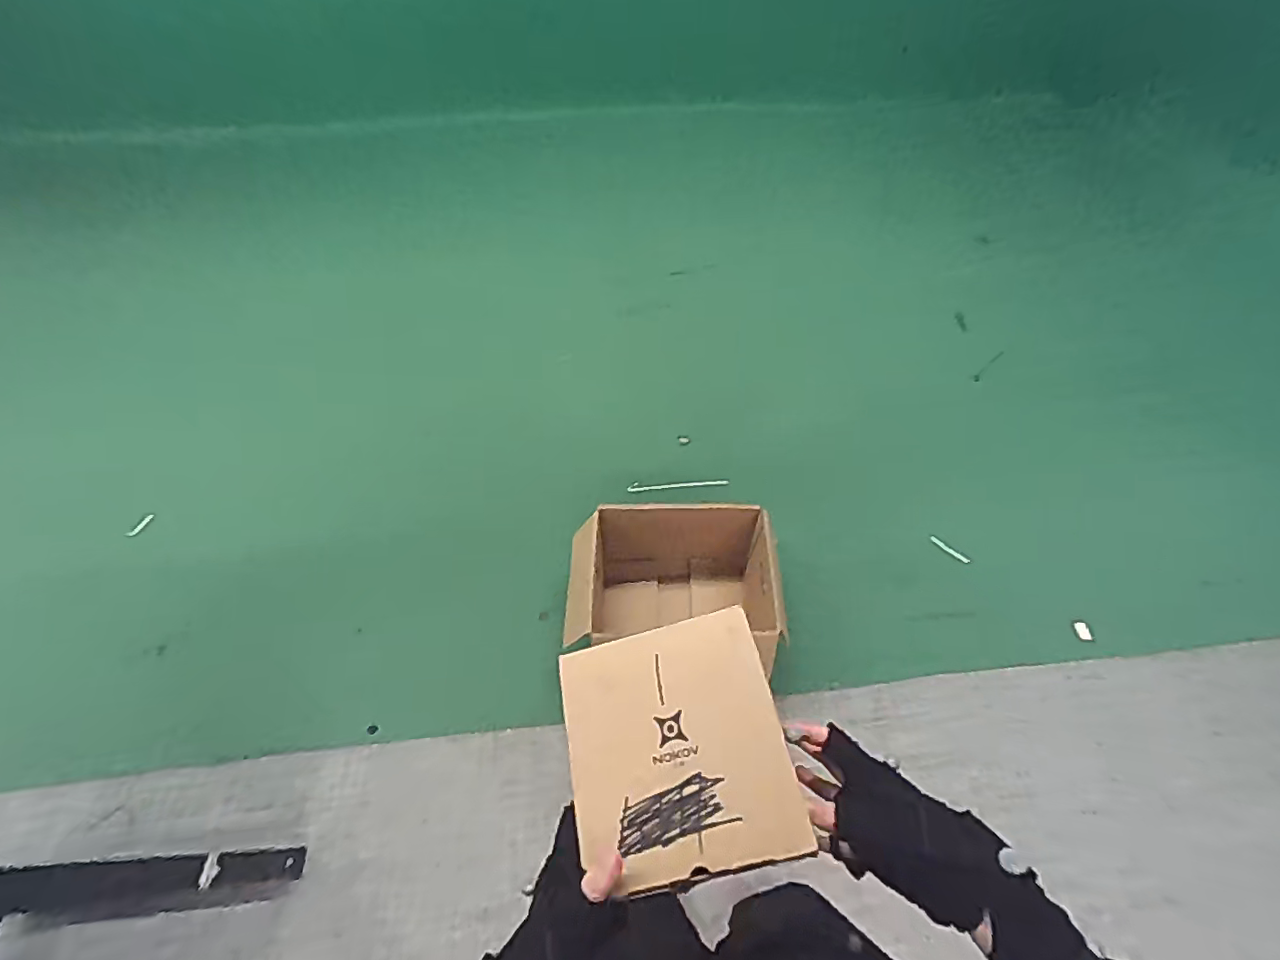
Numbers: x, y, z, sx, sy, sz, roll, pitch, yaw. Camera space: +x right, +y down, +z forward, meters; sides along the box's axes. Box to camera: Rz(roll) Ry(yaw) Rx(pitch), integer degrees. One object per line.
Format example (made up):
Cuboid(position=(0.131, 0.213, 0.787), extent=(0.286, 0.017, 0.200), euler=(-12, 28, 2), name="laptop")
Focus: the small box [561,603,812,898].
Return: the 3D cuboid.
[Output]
Cuboid(position=(0.045, 0.234, 0.475), extent=(0.168, 0.176, 0.179), euler=(-18, 55, 7), name="small box")
